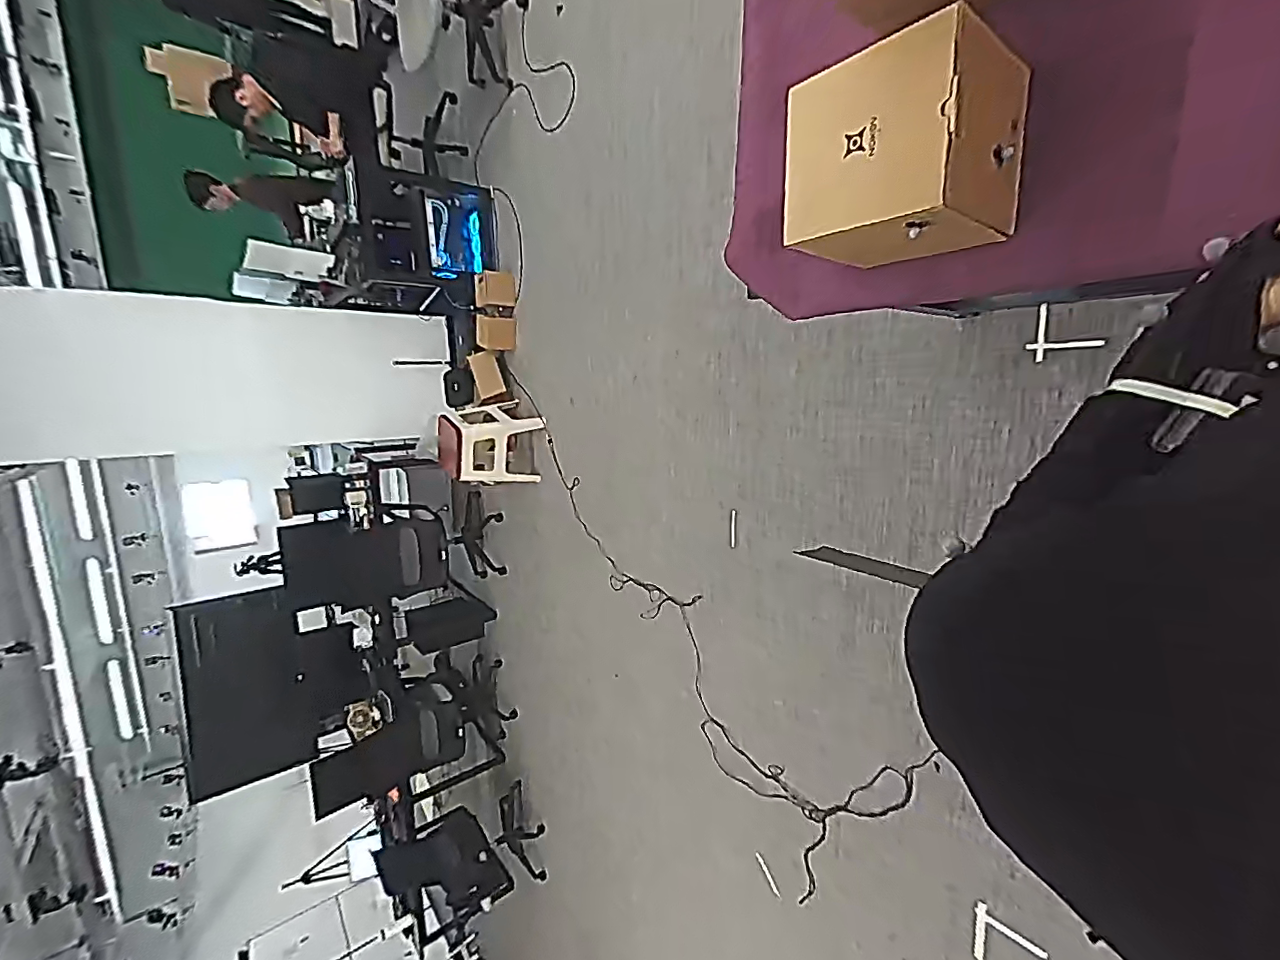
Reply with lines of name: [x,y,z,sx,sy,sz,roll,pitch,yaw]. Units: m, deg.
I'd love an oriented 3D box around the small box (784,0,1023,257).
small box: [0.281,-0.353,0.590,0.179,0.176,0.168,10,104,51]
